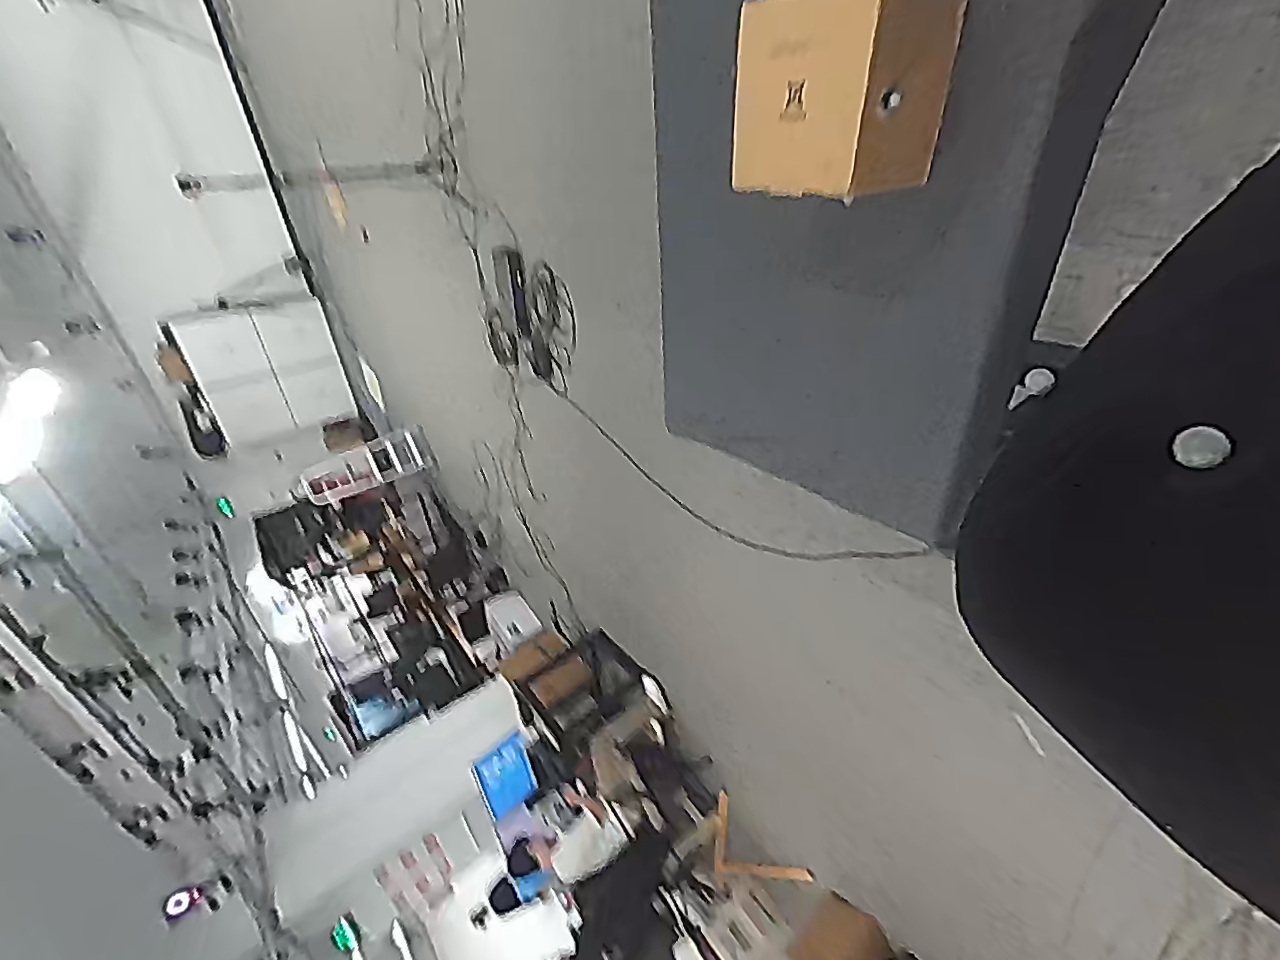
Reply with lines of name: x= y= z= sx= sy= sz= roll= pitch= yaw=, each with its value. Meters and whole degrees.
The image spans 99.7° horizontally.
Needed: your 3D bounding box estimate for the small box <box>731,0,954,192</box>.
small box: x=0.225 y=-0.438 z=0.618 sx=0.168 sy=0.176 sz=0.179 roll=31 pitch=134 yaw=41
